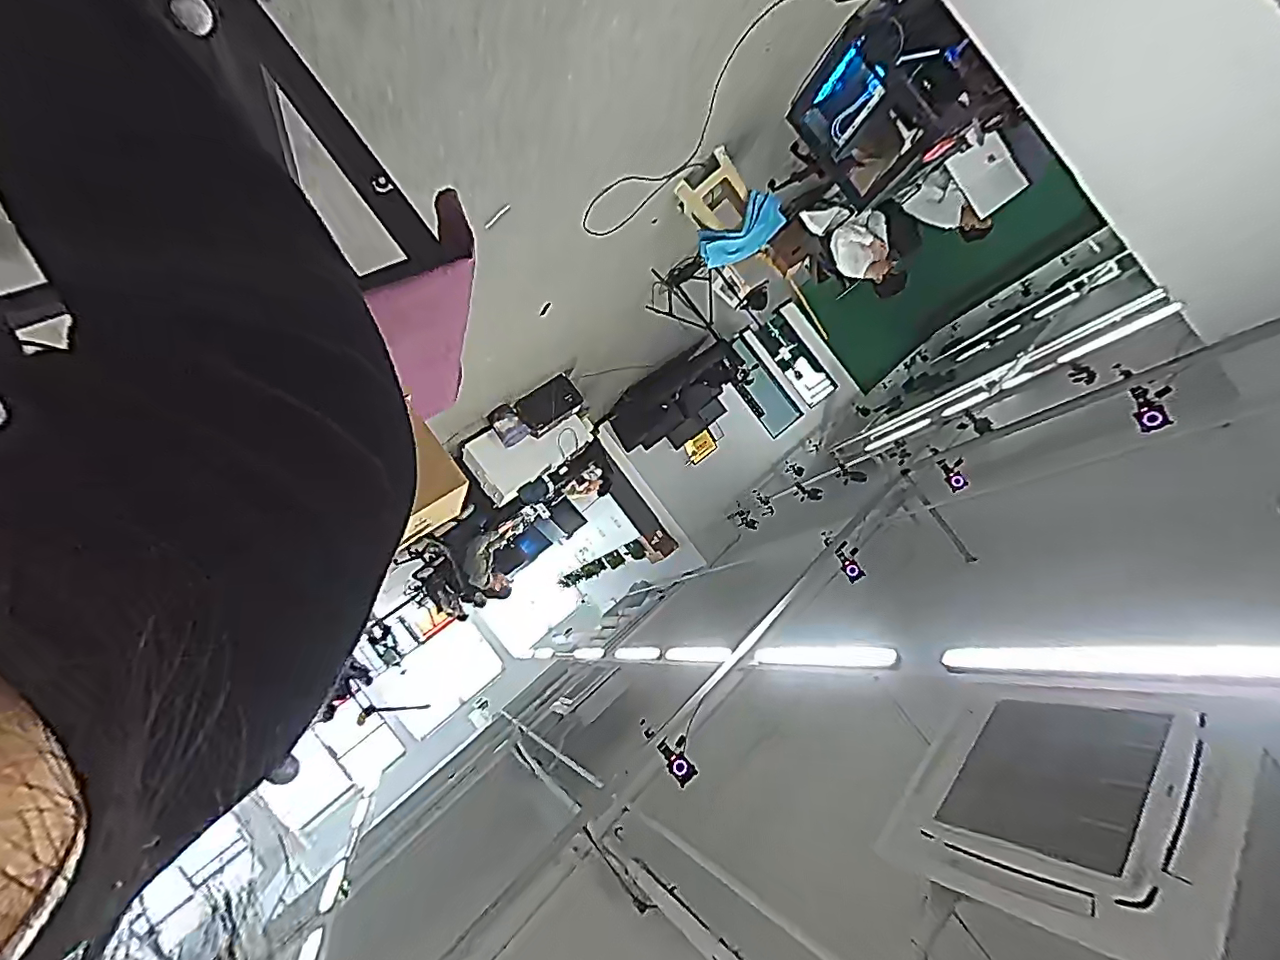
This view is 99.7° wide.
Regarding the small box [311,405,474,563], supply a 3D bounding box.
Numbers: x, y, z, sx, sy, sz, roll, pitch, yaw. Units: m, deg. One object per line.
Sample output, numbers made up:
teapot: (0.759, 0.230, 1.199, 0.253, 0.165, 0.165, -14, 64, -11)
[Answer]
small box: (-0.396, 0.007, 0.872, 0.168, 0.176, 0.179, -37, 178, -31)
